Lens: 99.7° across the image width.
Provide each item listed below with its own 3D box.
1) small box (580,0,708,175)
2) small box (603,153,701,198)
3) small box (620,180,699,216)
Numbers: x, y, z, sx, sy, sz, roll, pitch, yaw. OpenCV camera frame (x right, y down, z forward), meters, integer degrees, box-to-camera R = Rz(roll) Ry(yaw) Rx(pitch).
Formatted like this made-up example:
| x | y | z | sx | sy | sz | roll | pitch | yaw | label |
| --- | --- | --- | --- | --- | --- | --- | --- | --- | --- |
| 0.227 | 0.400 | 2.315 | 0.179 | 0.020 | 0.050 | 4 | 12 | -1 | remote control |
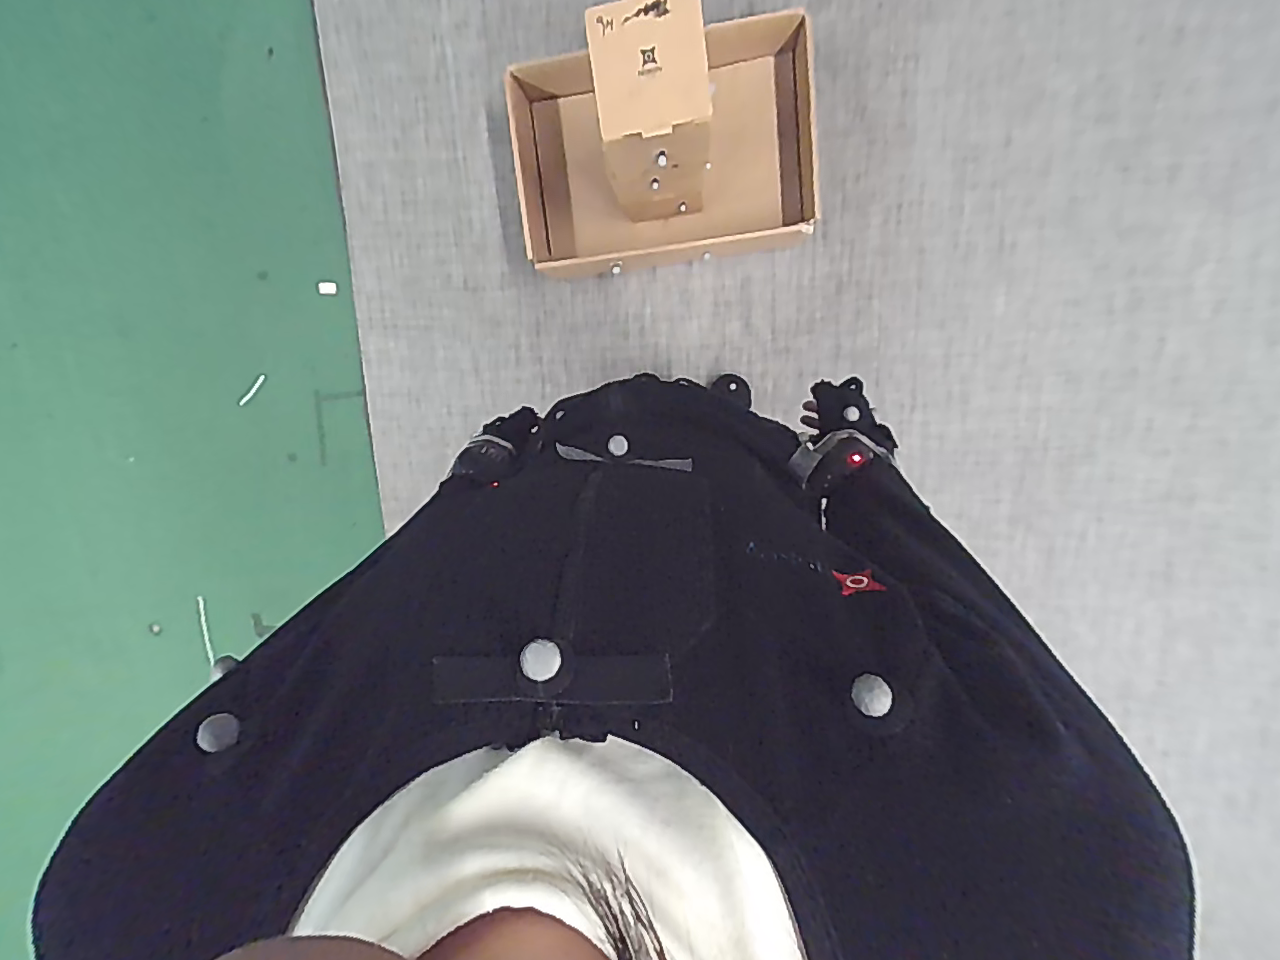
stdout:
| x | y | z | sx | sy | sz | roll | pitch | yaw | label |
| --- | --- | --- | --- | --- | --- | --- | --- | --- | --- |
| 0.016 | -0.615 | 0.868 | 0.168 | 0.176 | 0.179 | -8 | 100 | 9 | small box |
| 0.023 | -0.653 | 1.025 | 0.179 | 0.176 | 0.168 | -4 | 100 | 8 | small box |
| 0.039 | -0.688 | 1.168 | 0.168 | 0.176 | 0.179 | -5 | 99 | 7 | small box |
